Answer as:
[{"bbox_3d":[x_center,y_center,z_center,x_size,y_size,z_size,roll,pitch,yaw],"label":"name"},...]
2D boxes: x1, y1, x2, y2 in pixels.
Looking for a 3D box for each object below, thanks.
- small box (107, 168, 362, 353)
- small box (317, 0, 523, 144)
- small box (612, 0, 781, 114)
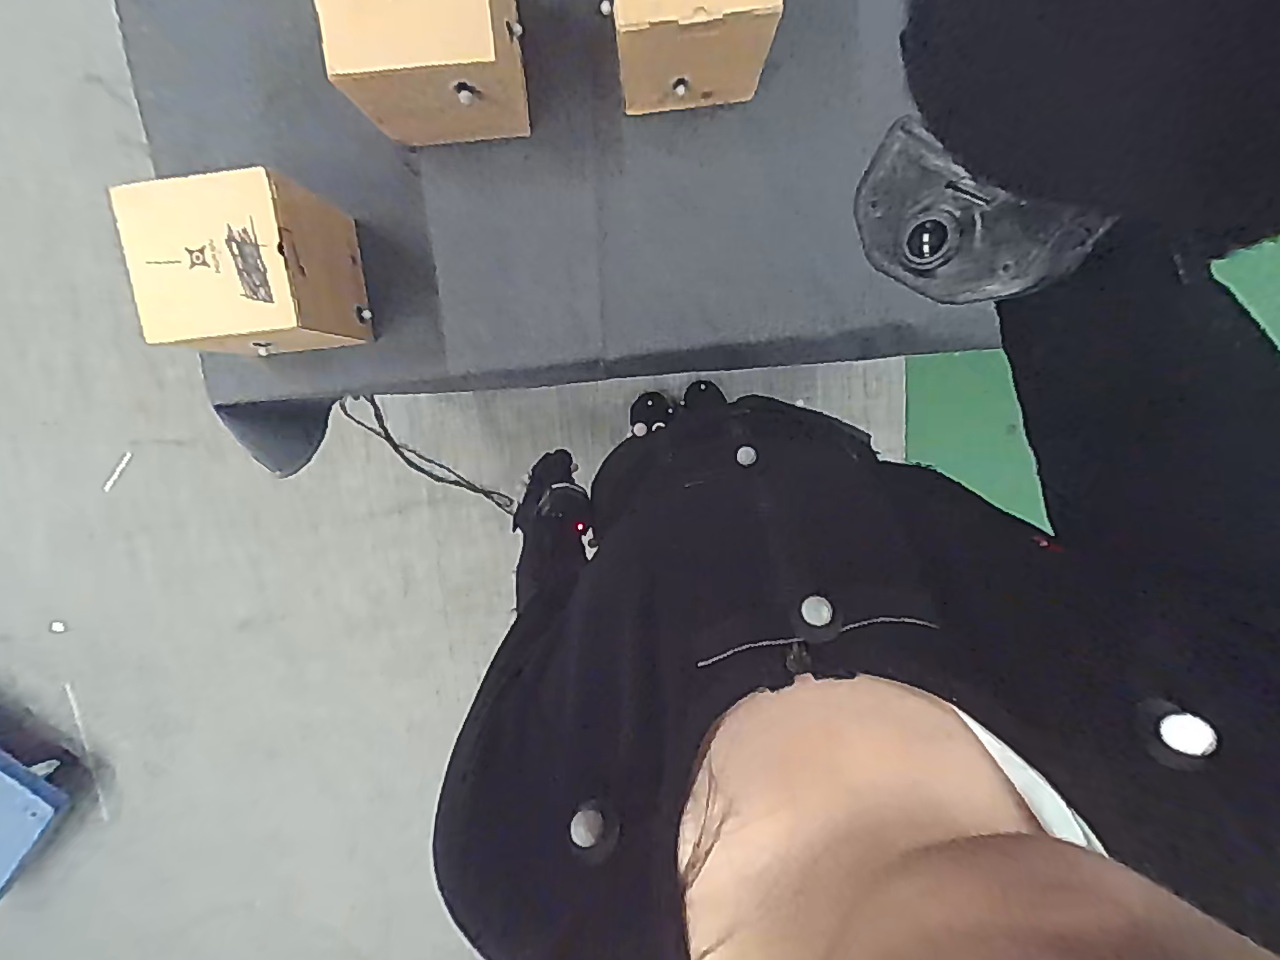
[{"bbox_3d":[-0.462,-0.250,0.653,0.179,0.176,0.168,-6,98,2],"label":"small box"},{"bbox_3d":[-0.235,-0.505,0.610,0.179,0.176,0.168,-4,100,1],"label":"small box"},{"bbox_3d":[0.051,-0.550,0.603,0.168,0.176,0.179,-6,100,1],"label":"small box"}]
